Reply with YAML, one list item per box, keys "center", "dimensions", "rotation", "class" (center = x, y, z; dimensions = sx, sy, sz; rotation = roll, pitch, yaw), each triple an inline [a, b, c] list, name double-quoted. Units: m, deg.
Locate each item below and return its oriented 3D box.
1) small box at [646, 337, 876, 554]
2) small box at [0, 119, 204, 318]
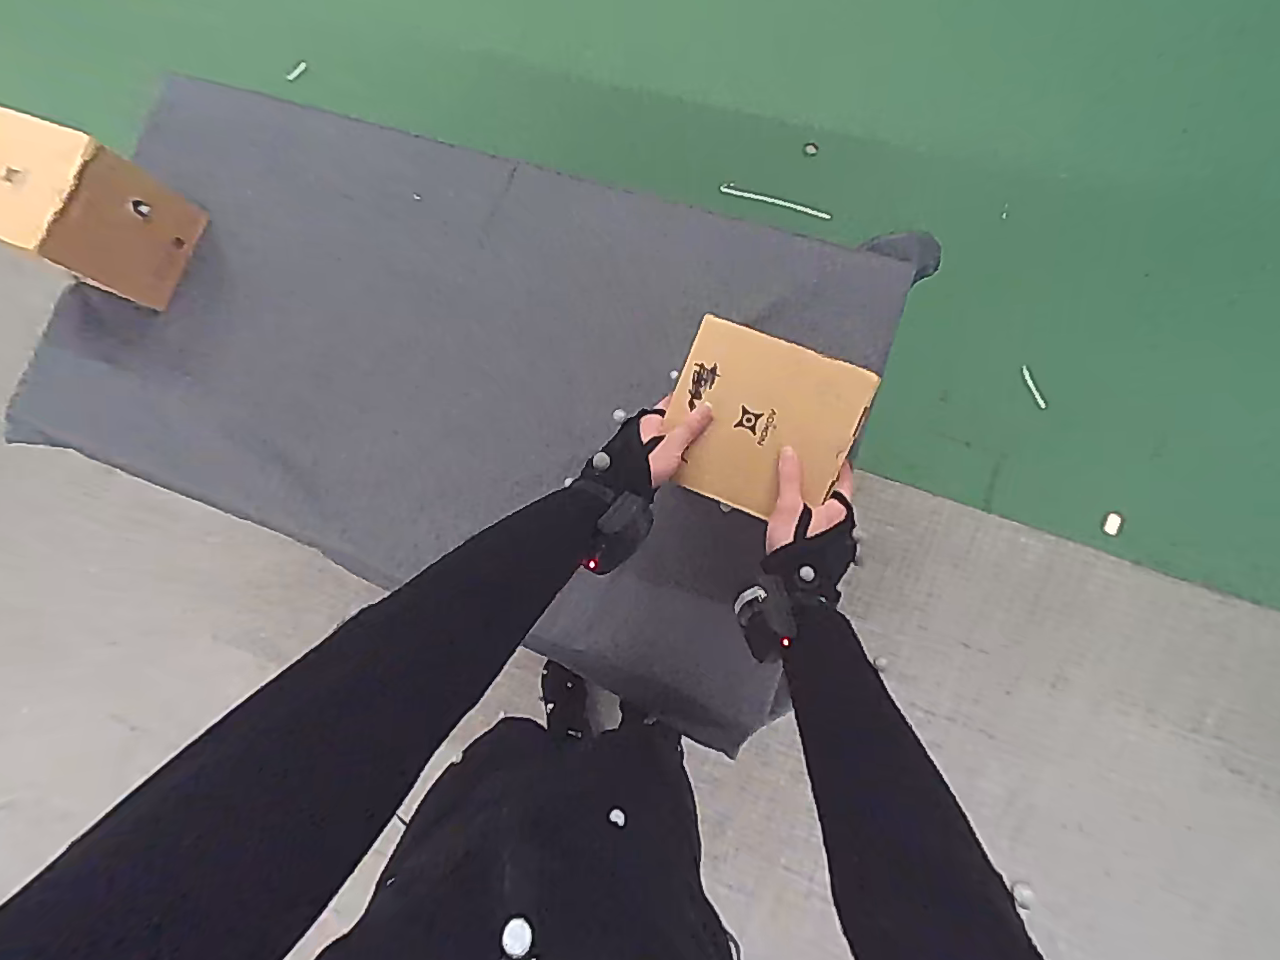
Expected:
- center: [0.129, -0.038, 0.603]
  dimensions: [0.179, 0.176, 0.168]
  rotation: [23, 96, 10]
  class: "small box"
- center: [-0.780, -0.352, 0.761]
  dimensions: [0.179, 0.176, 0.168]
  rotation: [22, 82, 9]
  class: "small box"
